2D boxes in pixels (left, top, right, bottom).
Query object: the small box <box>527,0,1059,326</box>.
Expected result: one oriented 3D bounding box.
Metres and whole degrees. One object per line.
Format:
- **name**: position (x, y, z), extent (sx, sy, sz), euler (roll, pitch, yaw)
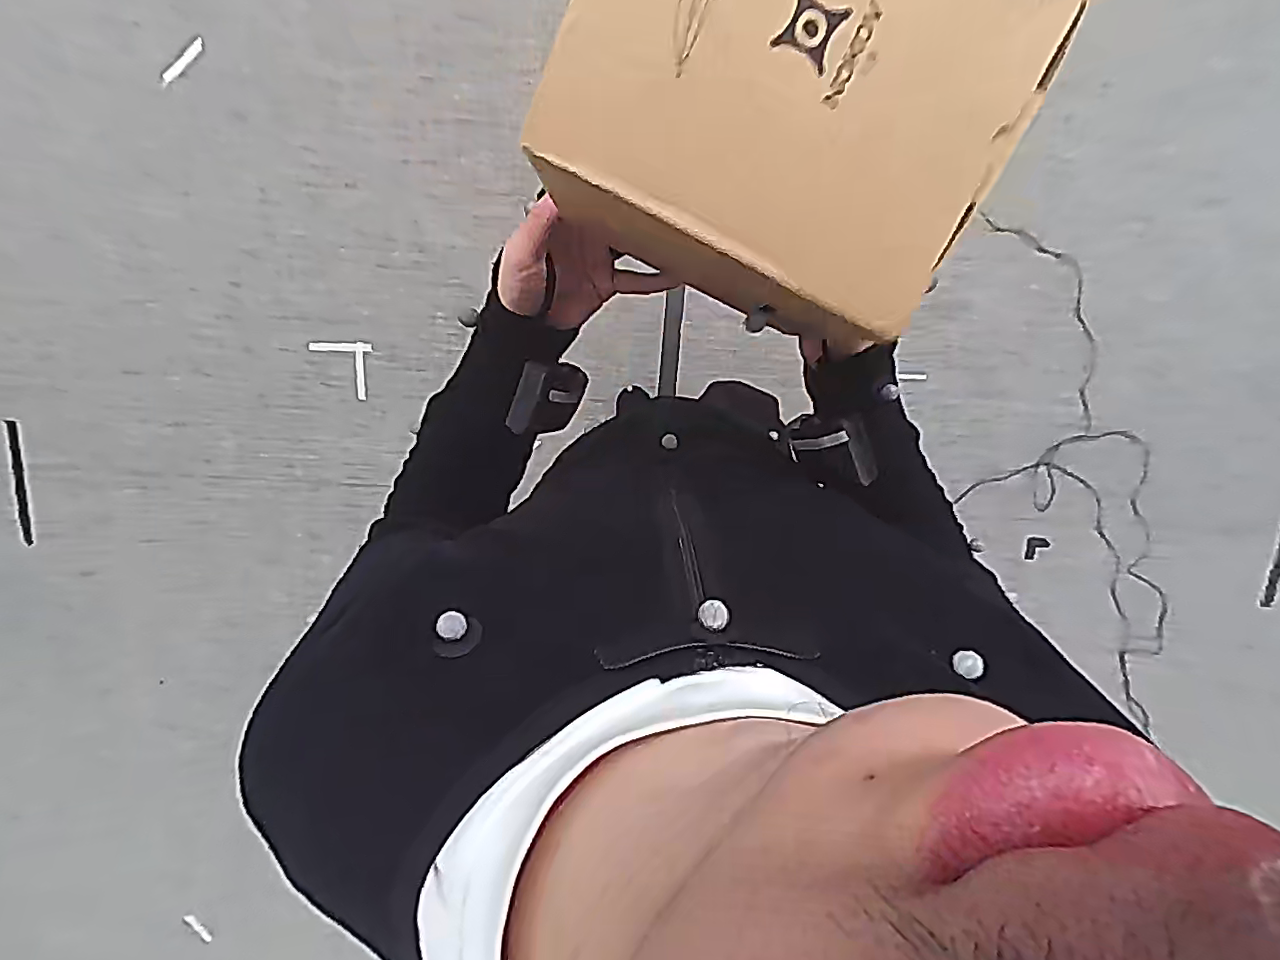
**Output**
- **small box**: position (0.060, -0.194, 0.289), extent (0.179, 0.176, 0.168), euler (22, 101, -8)
